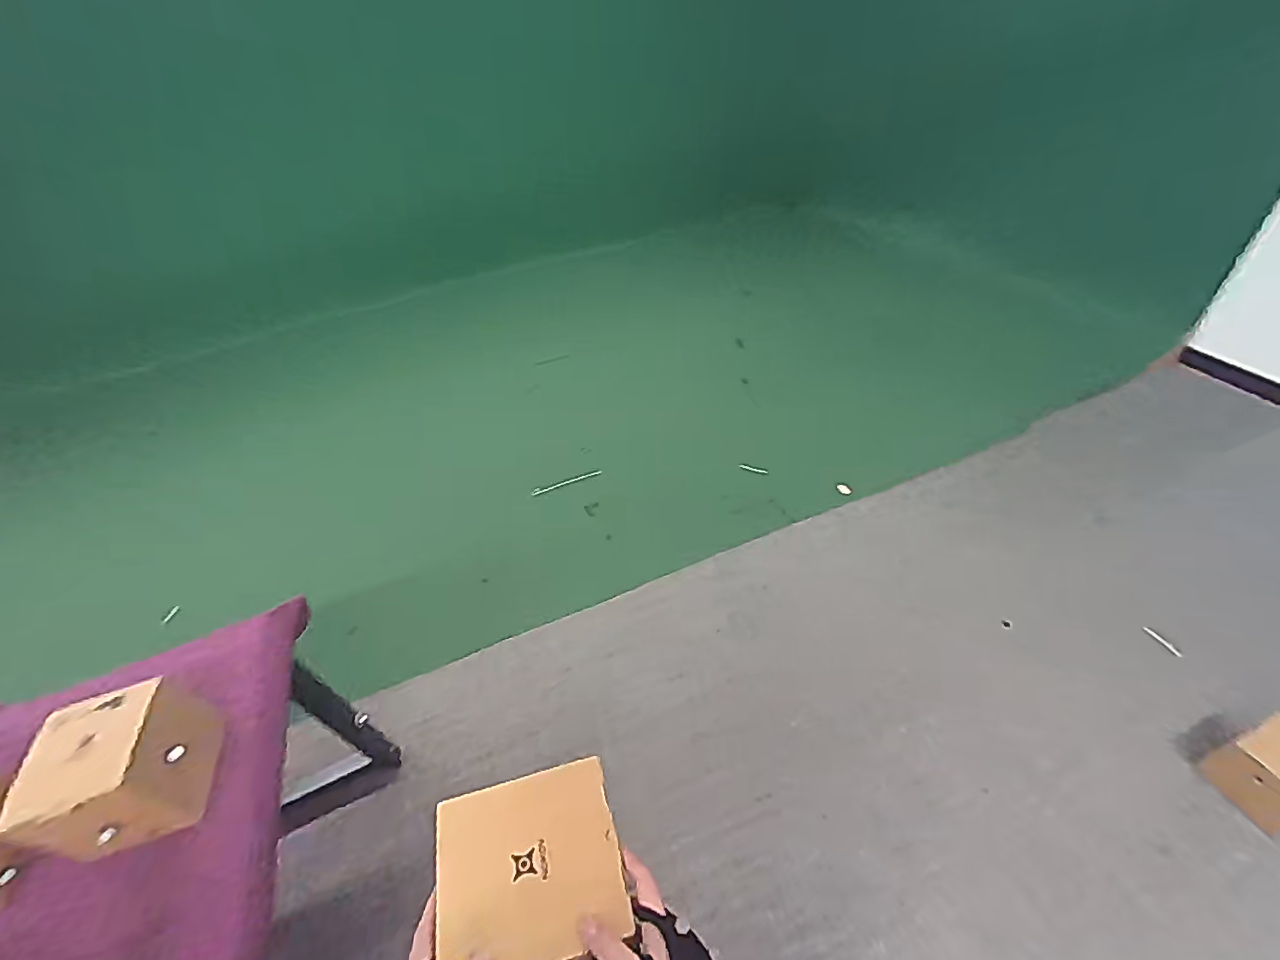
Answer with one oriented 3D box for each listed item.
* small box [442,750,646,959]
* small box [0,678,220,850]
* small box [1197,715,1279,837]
[{"bbox_3d":[-0.097,0.422,0.566,0.179,0.176,0.168,-10,38,-11],"label":"small box"},{"bbox_3d":[-0.807,0.448,0.844,0.168,0.176,0.179,-17,45,-8],"label":"small box"},{"bbox_3d":[1.503,0.700,1.277,0.168,0.176,0.179,-20,45,-12],"label":"small box"}]
